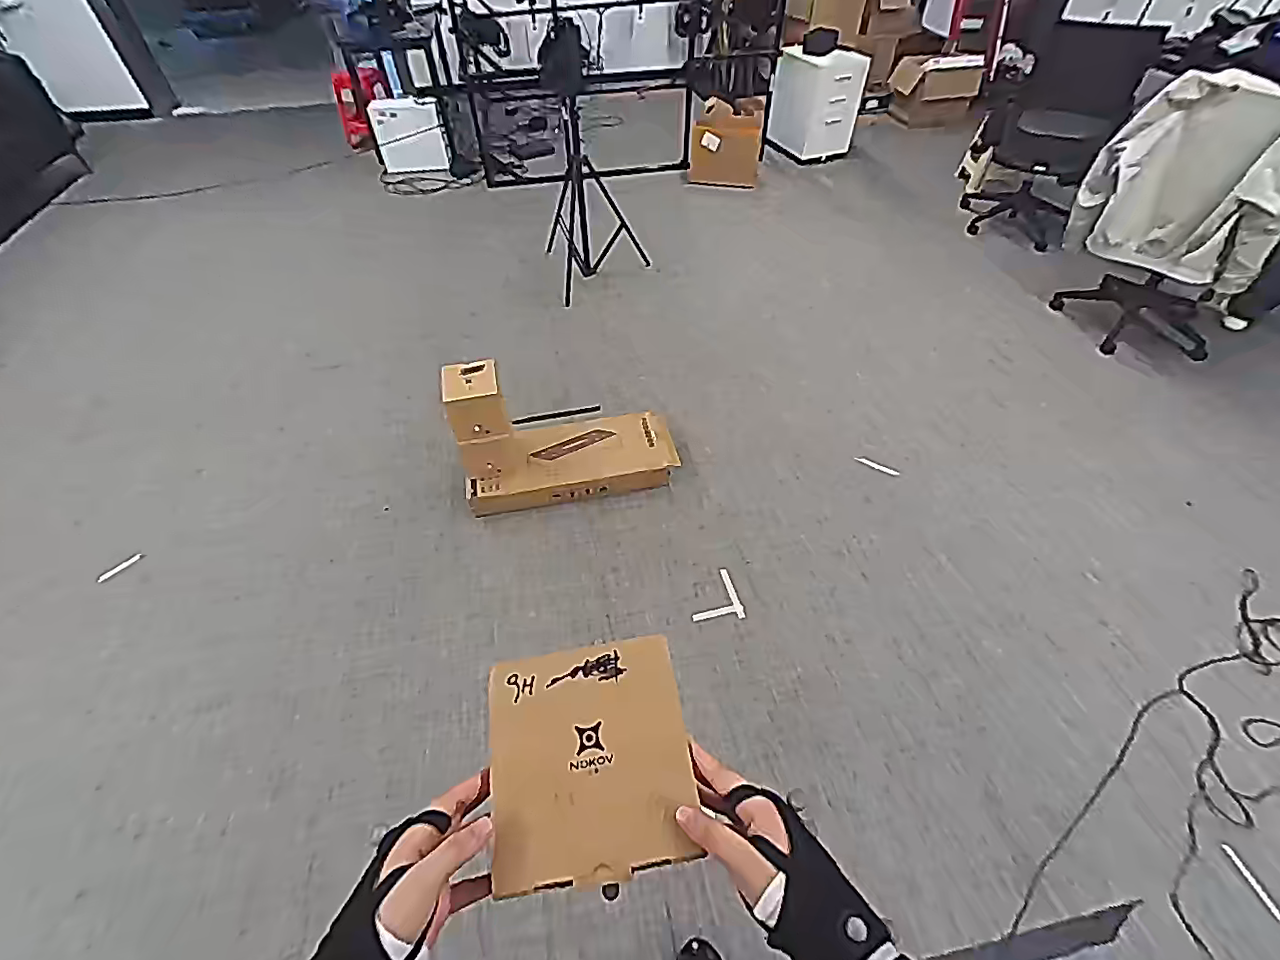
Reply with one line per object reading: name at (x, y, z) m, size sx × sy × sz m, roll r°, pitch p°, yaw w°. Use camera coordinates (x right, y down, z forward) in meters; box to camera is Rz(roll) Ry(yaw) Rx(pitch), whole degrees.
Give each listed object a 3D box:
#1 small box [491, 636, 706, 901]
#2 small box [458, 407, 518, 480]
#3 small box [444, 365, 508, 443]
small box at (-0.039, 0.271, 0.517) m, size 0.168 × 0.176 × 0.179 m, roll -9°, pitch 56°, yaw -5°
small box at (-0.520, -0.124, 1.854) m, size 0.168 × 0.176 × 0.179 m, roll -10°, pitch 49°, yaw -8°
small box at (-0.527, -0.245, 1.742) m, size 0.168 × 0.176 × 0.179 m, roll -11°, pitch 49°, yaw -9°
